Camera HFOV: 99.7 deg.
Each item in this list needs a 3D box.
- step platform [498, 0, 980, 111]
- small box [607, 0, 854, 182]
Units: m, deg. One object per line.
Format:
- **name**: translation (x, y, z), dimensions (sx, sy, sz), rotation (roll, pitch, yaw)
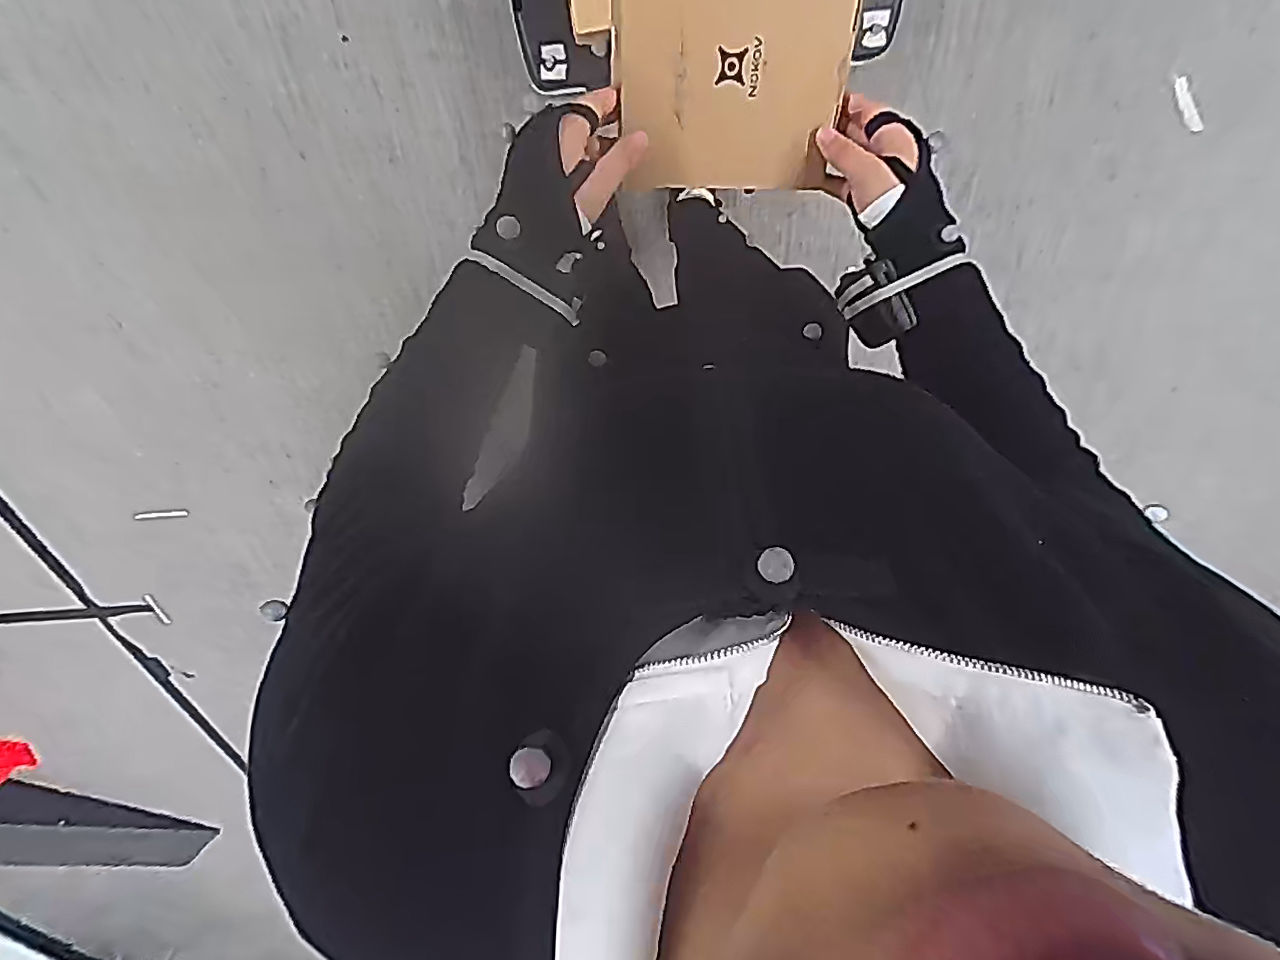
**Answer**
- **step platform**: translation (0.135, -0.749, 0.803), dimensions (0.684, 0.204, 0.286), rotation (-6, 124, -1)
- **small box**: translation (0.063, -0.367, 0.473), dimensions (0.179, 0.176, 0.168), rotation (-2, 127, -4)
